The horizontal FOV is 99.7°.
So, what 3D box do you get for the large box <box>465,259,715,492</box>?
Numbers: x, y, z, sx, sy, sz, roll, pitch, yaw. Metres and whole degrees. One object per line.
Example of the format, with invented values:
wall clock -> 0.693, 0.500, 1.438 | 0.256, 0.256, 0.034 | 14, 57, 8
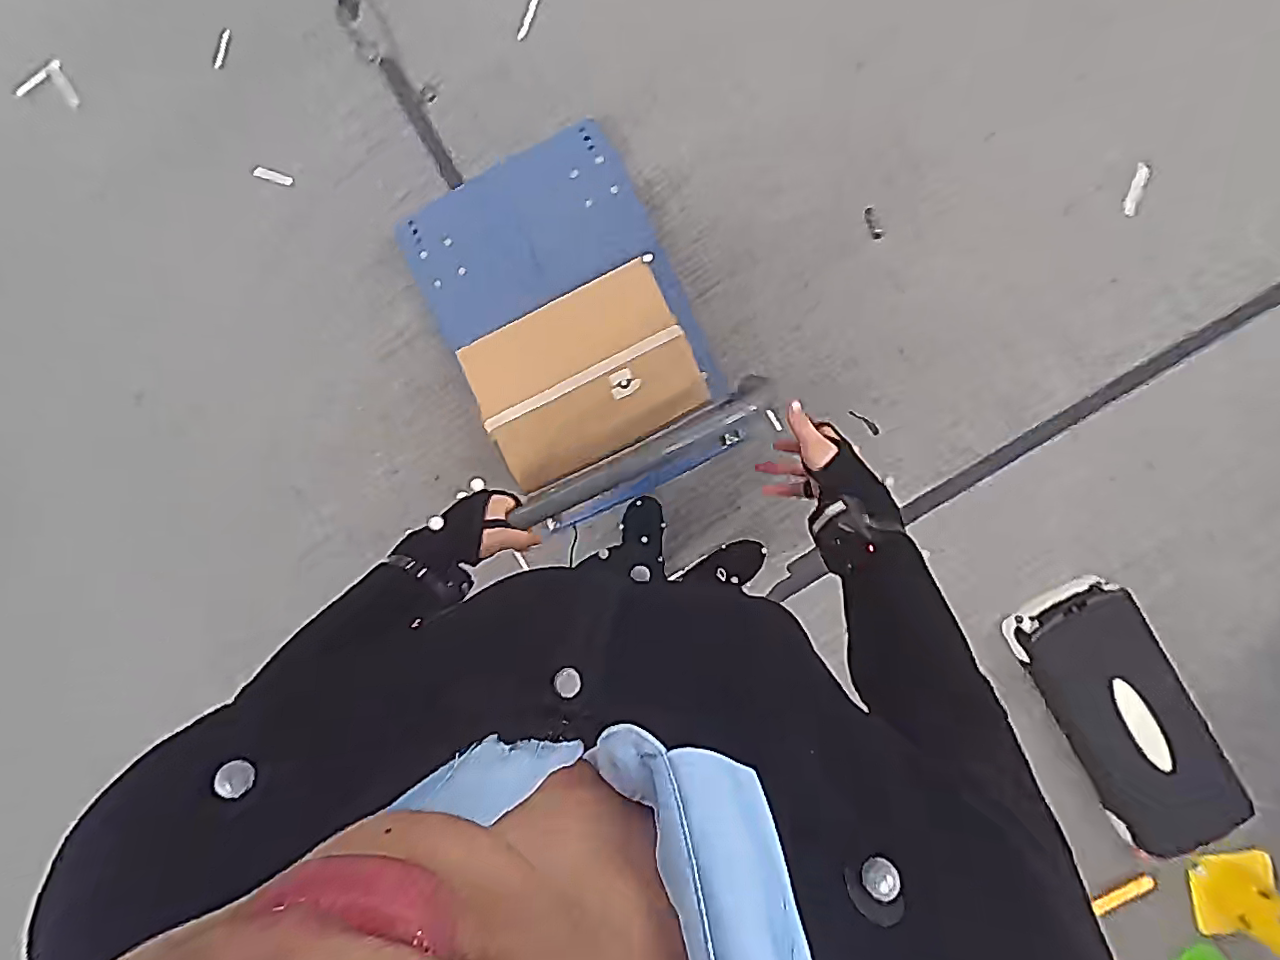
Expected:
large box -> -0.091, -0.196, 1.177 | 0.408, 0.320, 0.320 | -26, 90, 3
